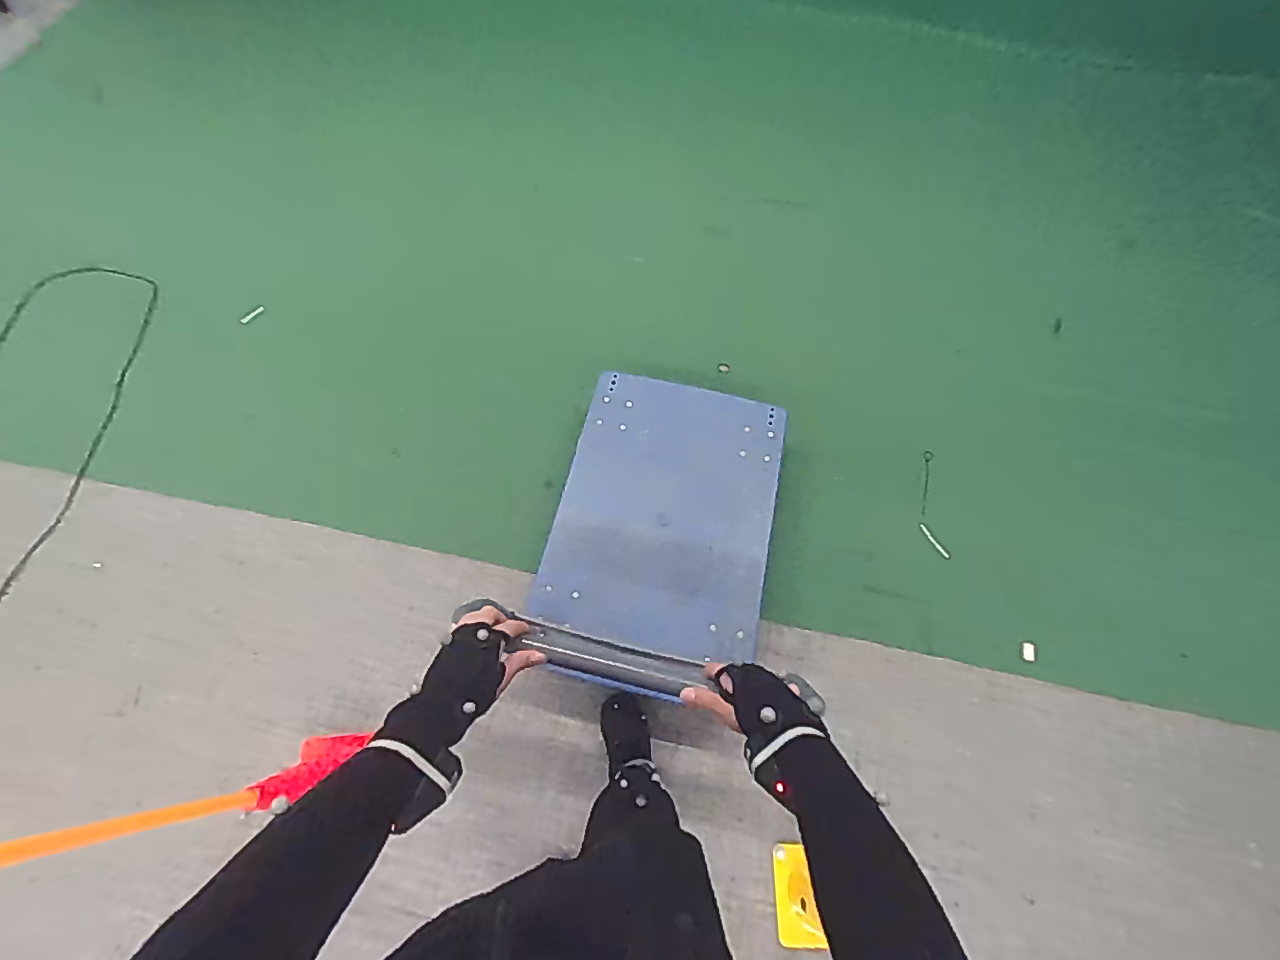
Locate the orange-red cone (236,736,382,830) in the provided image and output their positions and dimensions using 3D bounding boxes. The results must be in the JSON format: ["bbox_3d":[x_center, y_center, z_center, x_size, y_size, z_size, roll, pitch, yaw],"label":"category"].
[{"bbox_3d":[-0.746,0.672,1.176,0.199,0.360,0.198,-3,66,-1],"label":"orange-red cone"}]
